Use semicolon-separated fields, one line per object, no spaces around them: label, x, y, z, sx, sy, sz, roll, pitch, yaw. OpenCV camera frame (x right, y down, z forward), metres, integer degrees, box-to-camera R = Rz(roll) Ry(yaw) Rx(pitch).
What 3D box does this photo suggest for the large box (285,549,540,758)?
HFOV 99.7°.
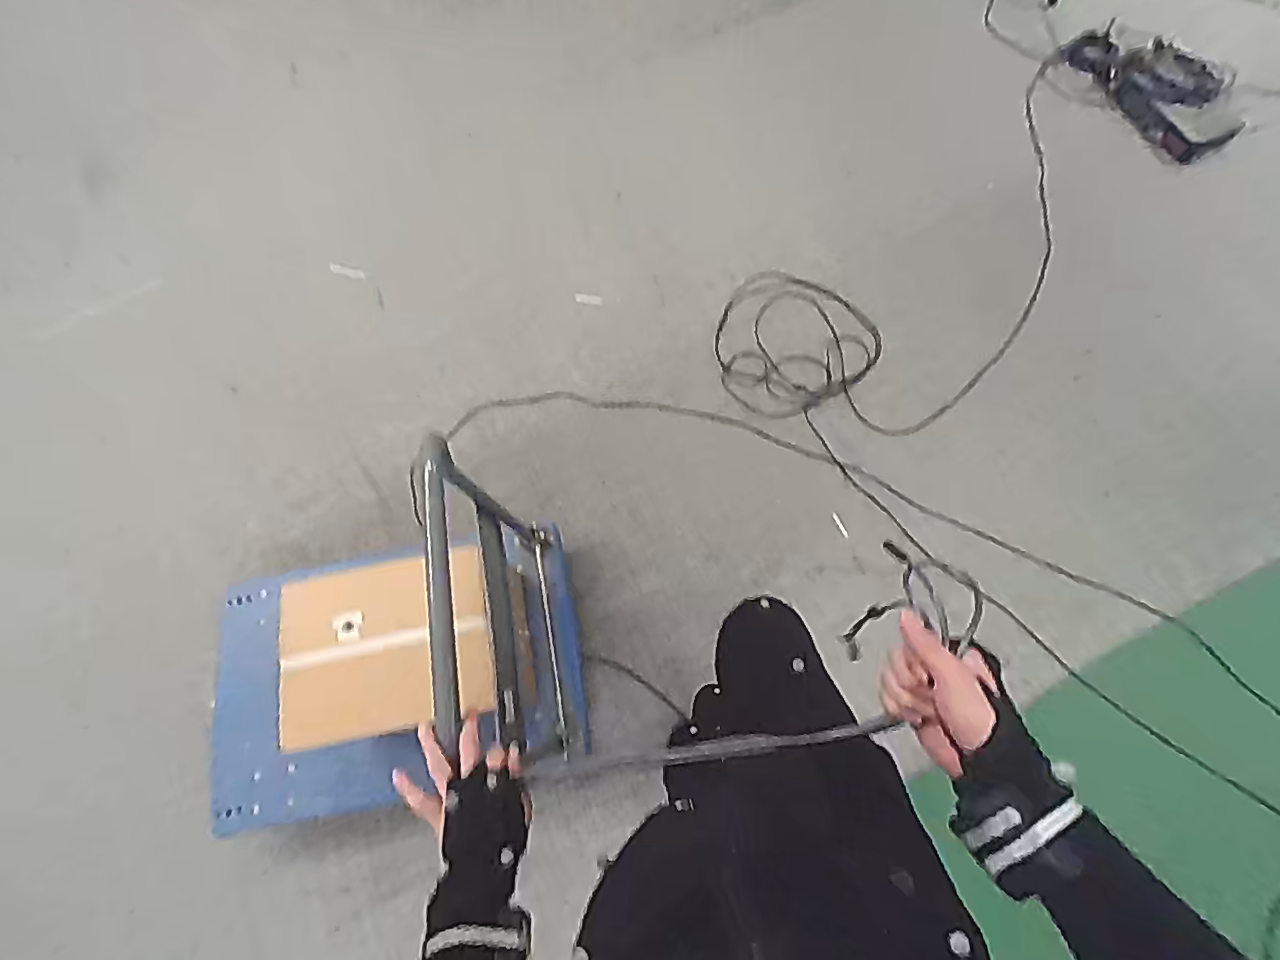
large box;-0.466;0.366;1.166;0.408;0.320;0.320;-12;70;1
